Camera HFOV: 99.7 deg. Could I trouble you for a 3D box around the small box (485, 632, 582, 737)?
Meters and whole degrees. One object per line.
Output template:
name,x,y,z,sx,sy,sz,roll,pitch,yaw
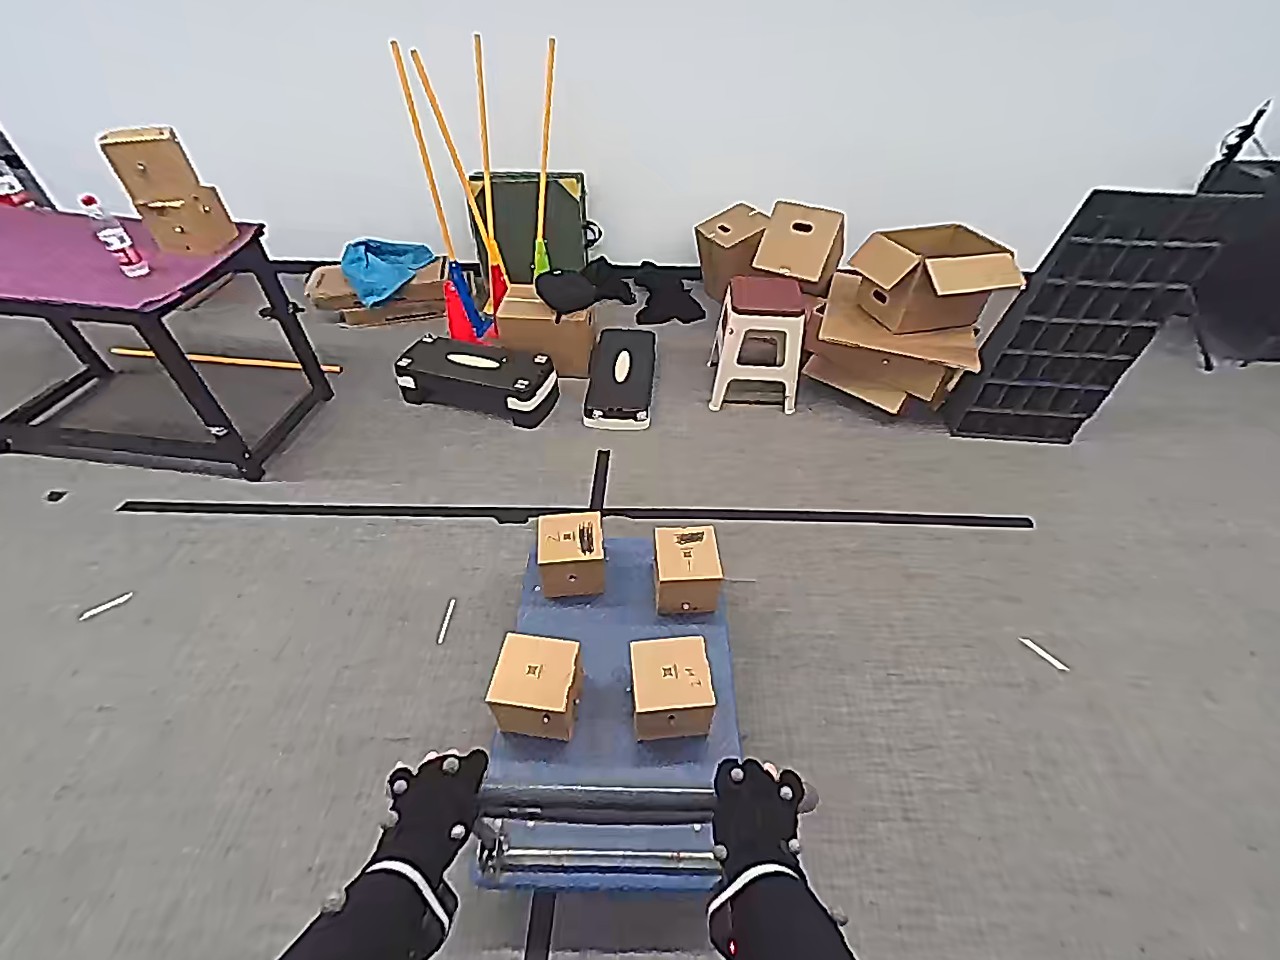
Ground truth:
small box,-0.237,0.478,1.256,0.179,0.176,0.168,7,46,4

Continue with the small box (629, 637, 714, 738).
small box,0.068,0.483,1.254,0.179,0.176,0.168,-3,46,-4

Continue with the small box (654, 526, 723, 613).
small box,0.126,0.246,1.487,0.168,0.176,0.179,-2,47,-2
